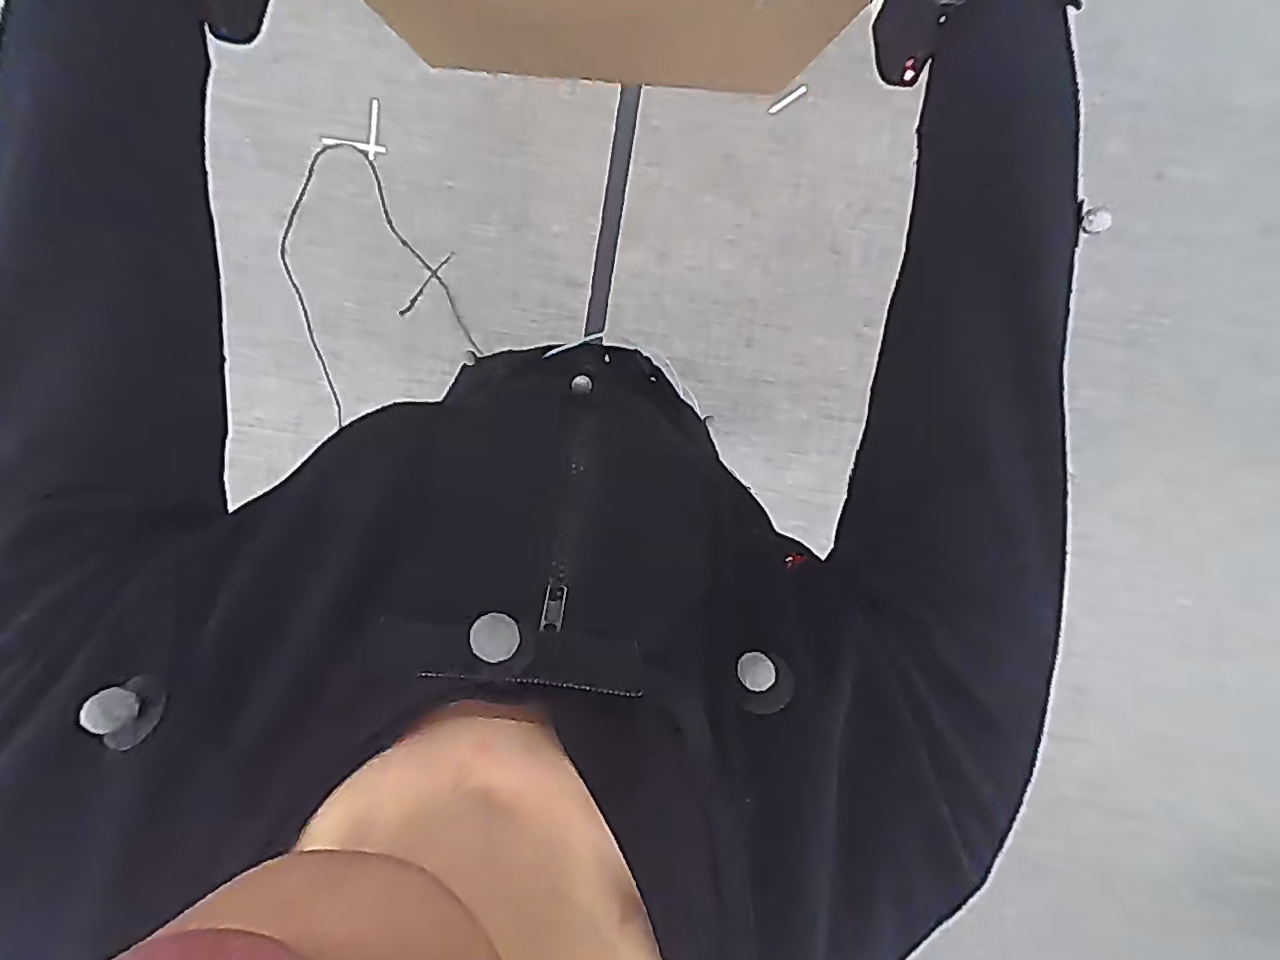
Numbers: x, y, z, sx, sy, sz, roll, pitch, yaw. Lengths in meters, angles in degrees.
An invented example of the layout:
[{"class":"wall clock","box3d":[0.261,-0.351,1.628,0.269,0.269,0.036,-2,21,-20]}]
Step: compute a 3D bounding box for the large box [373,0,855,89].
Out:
[{"class":"large box","box3d":[-0.025,-0.543,0.427,0.408,0.320,0.320,2,113,-3]}]
